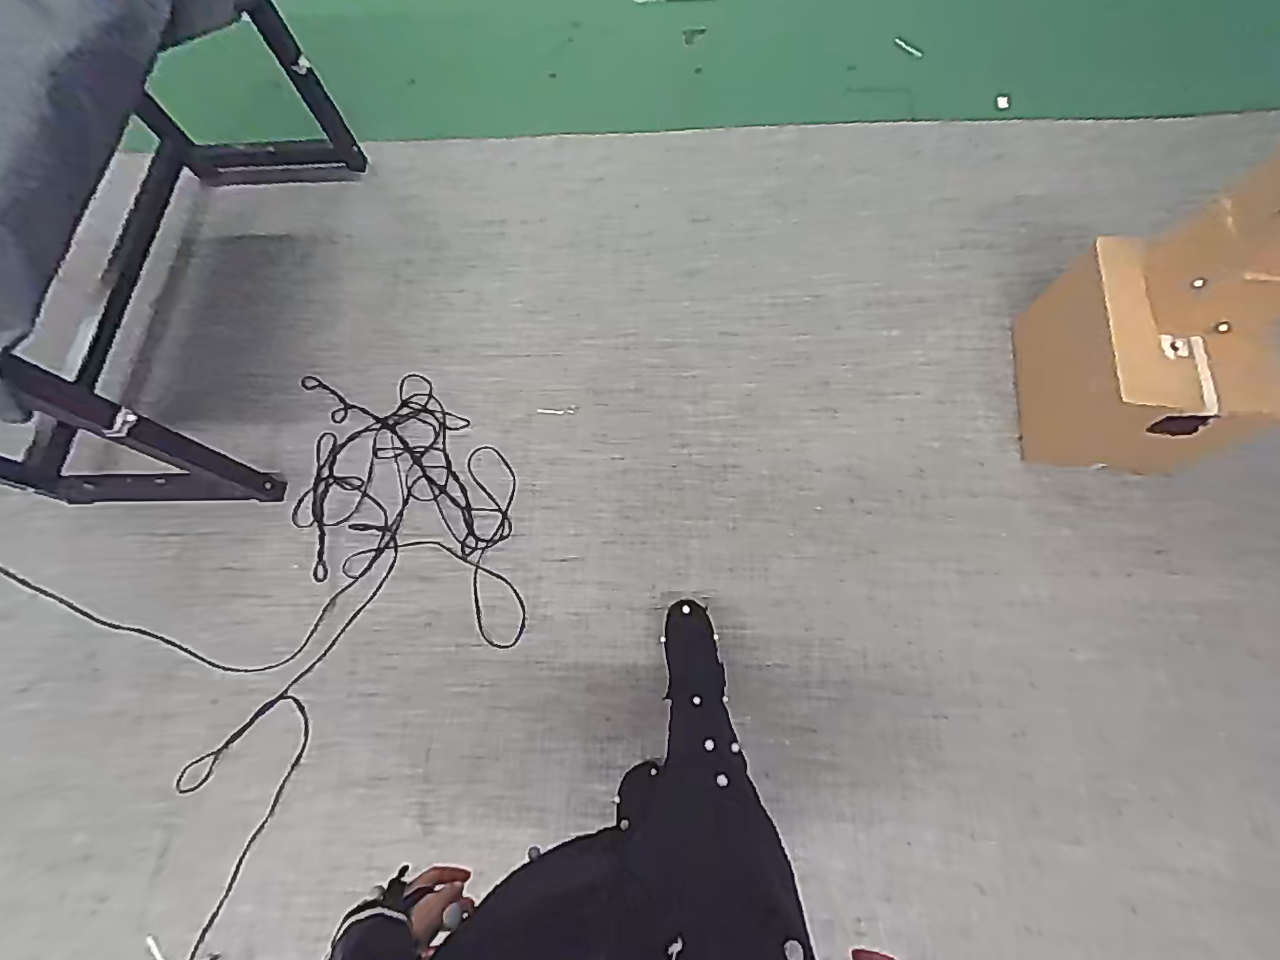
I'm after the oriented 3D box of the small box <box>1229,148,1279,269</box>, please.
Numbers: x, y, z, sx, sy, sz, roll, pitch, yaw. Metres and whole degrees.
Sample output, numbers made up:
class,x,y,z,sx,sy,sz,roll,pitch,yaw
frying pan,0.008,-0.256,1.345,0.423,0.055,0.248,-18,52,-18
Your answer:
class,x,y,z,sx,sy,sz,roll,pitch,yaw
small box,1.099,-0.445,0.849,0.168,0.176,0.179,11,71,6

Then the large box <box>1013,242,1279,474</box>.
class,x,y,z,sx,sy,sz,roll,pitch,yaw
large box,1.103,-0.261,1.216,0.320,0.320,0.408,5,72,7
